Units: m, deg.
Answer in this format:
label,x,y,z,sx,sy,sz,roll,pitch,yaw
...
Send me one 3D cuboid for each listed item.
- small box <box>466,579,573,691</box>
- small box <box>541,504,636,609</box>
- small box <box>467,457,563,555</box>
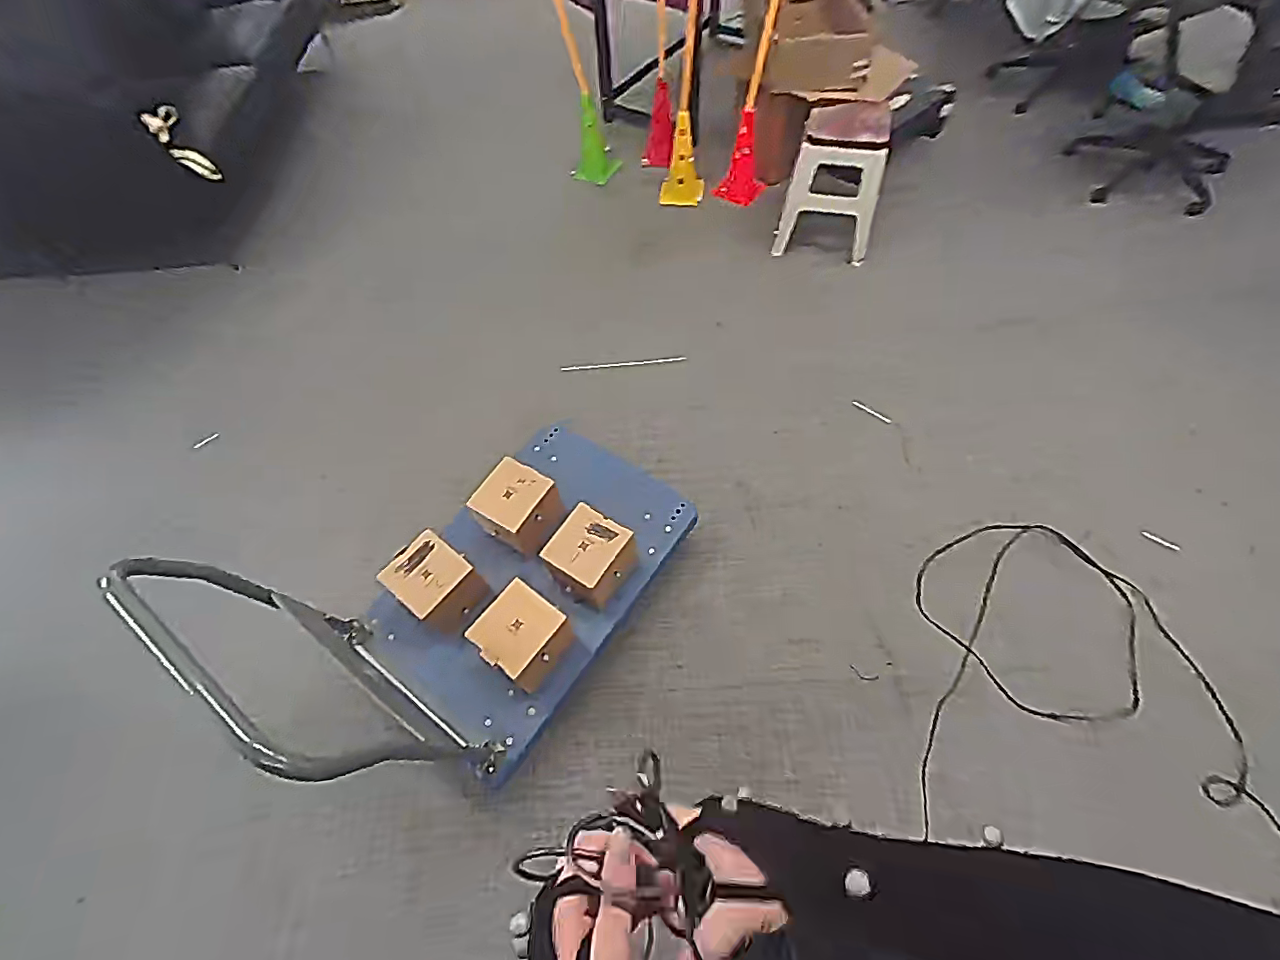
label,x,y,z,sx,sy,sz,roll,pitch,yaw
small box,-0.276,0.374,1.294,0.168,0.176,0.179,33,68,21
small box,-0.123,0.198,1.383,0.168,0.176,0.179,29,67,20
small box,-0.328,0.076,1.470,0.168,0.176,0.179,28,65,18
